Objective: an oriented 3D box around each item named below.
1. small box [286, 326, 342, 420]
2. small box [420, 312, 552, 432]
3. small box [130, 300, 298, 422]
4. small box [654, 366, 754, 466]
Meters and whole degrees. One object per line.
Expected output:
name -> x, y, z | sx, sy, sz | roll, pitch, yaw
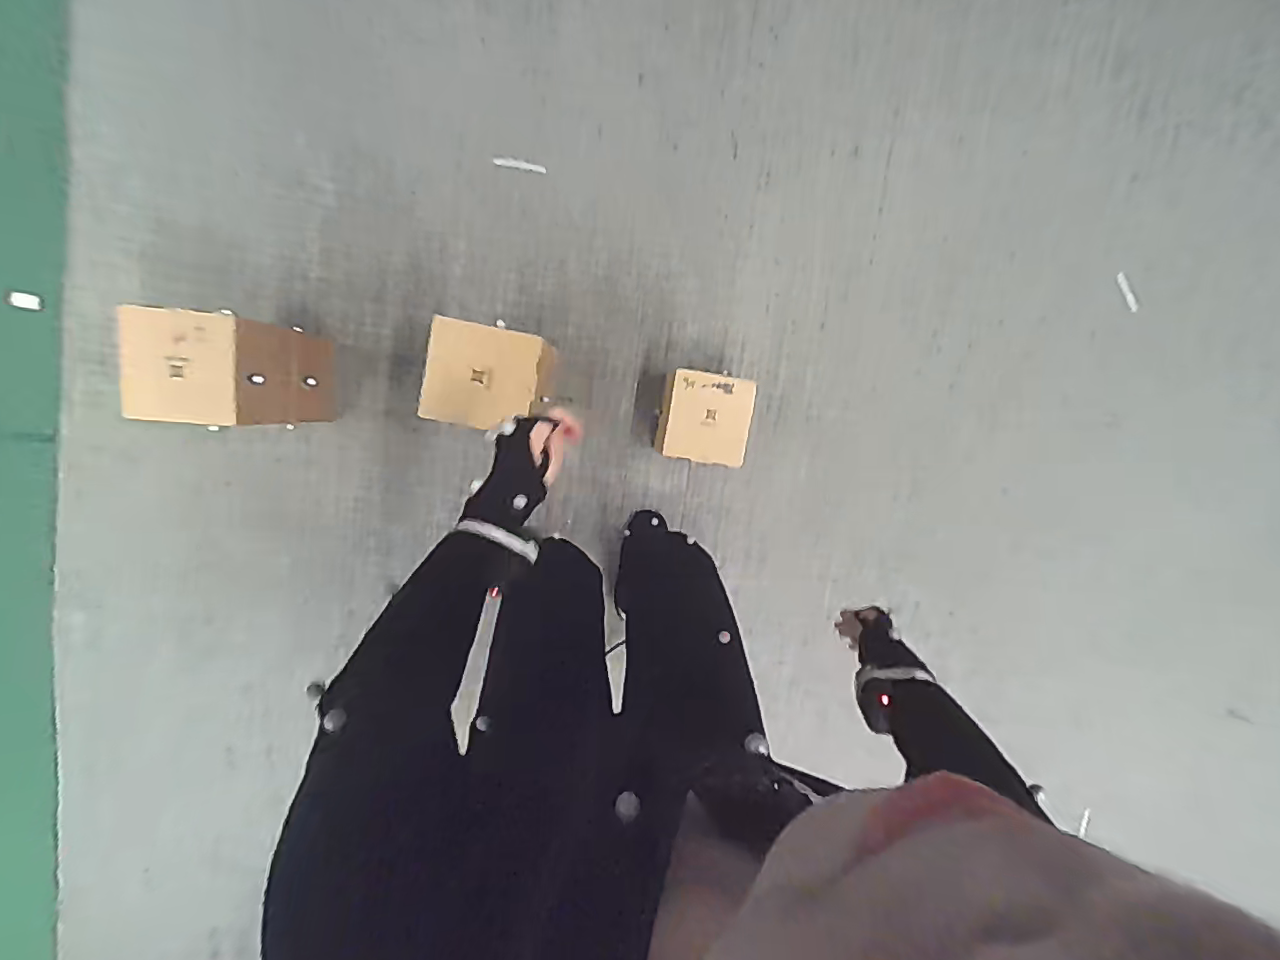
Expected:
small box -> -0.723, -0.218, 1.087 | 0.168, 0.176, 0.179 | 6, 96, -5
small box -> -0.262, -0.182, 0.956 | 0.179, 0.176, 0.168 | 11, 96, -5
small box -> -0.714, -0.195, 0.925 | 0.168, 0.176, 0.179 | 5, 97, -6
small box -> 0.127, -0.137, 1.153 | 0.168, 0.176, 0.179 | 10, 97, -5
